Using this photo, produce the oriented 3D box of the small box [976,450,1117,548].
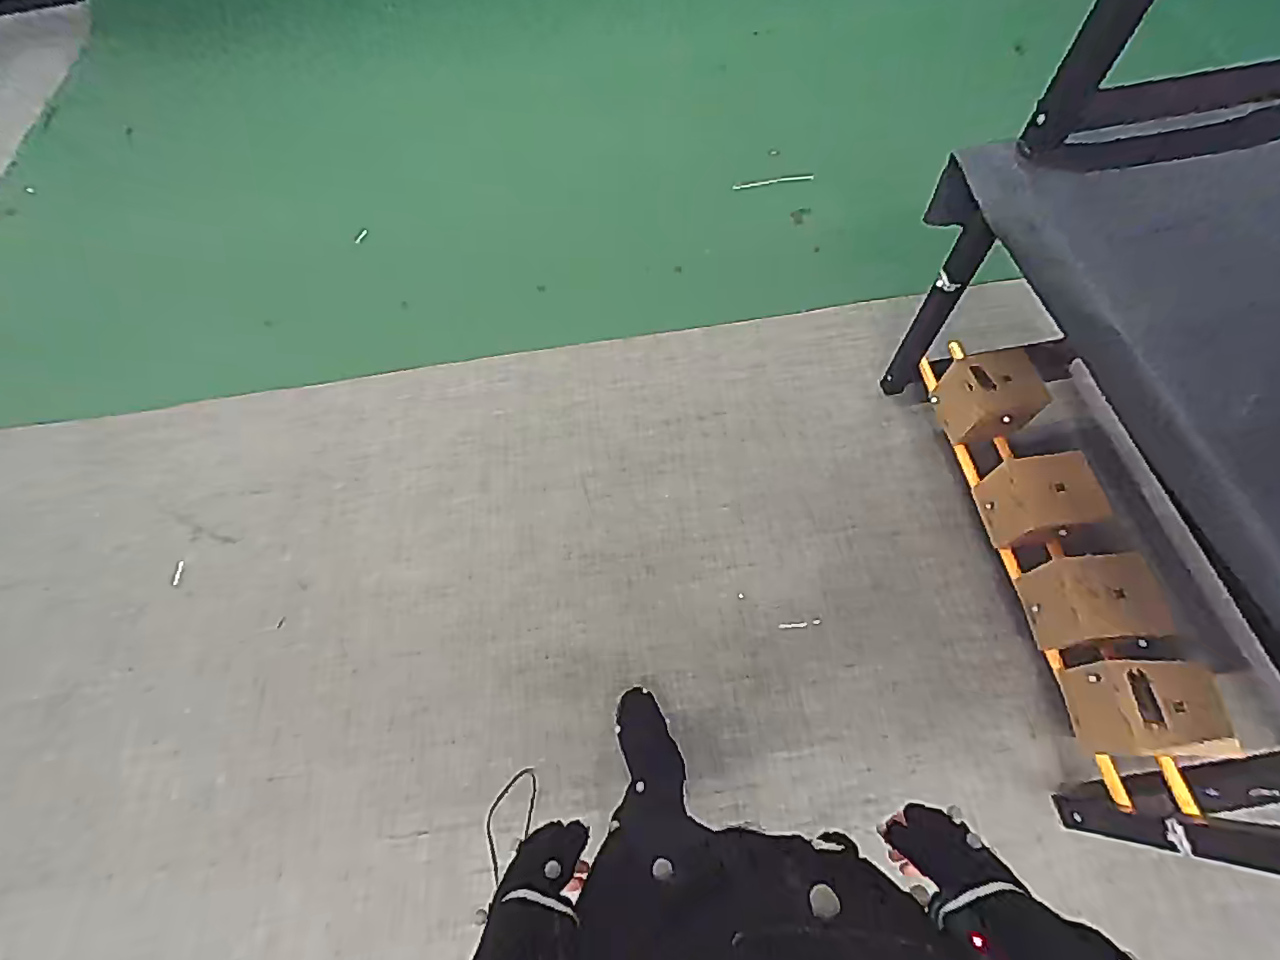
[{"bbox_3d":[0.934,0.049,1.261,0.179,0.176,0.168,-8,65,3],"label":"small box"}]
